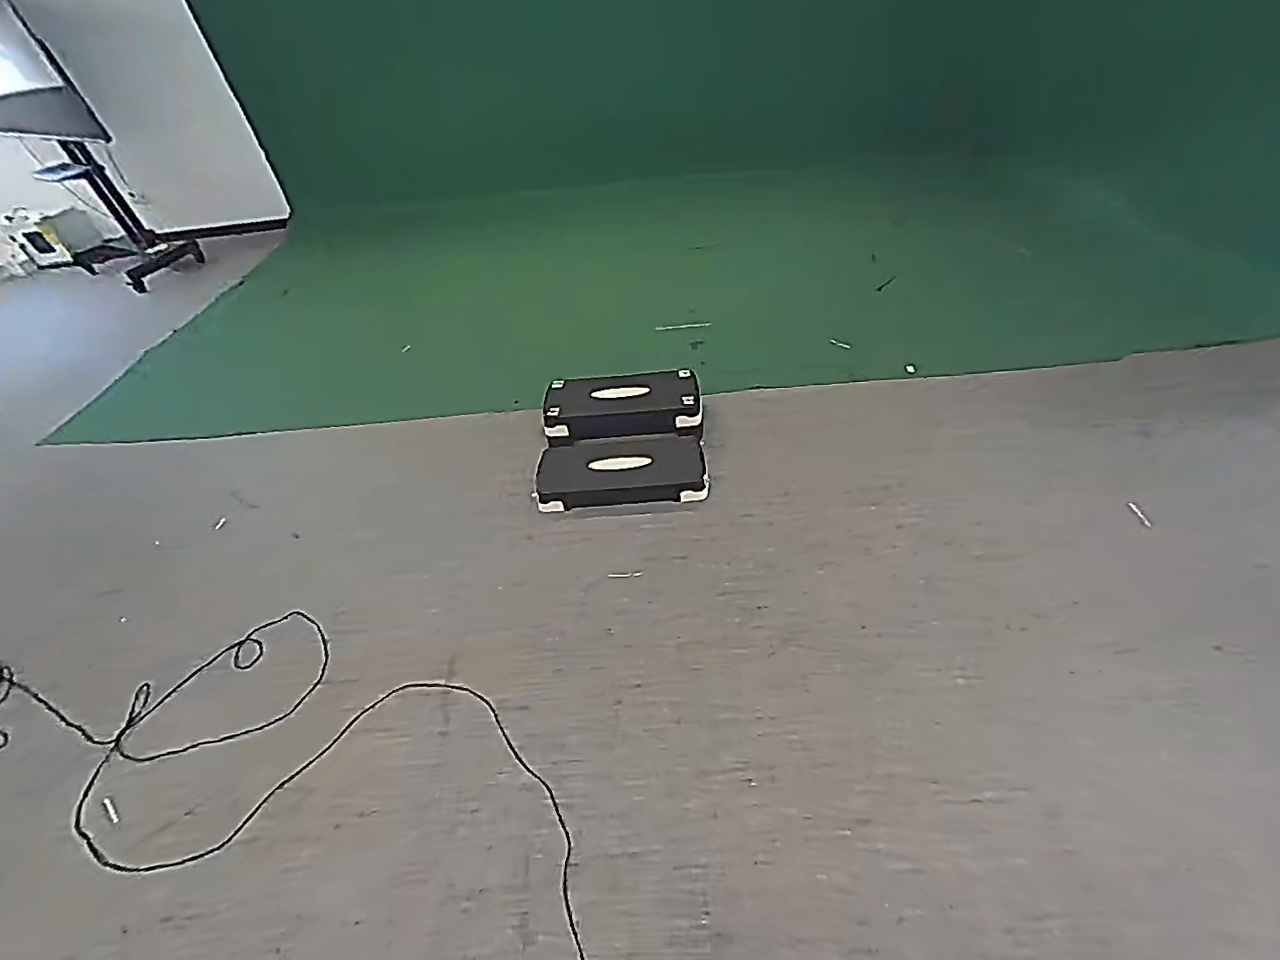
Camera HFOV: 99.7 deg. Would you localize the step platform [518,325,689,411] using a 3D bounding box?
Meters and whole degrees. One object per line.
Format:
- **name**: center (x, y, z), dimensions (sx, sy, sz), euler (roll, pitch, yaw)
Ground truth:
- **step platform**: center (-0.140, -0.462, 2.234), dimensions (0.684, 0.204, 0.286), euler (-5, 45, 4)
